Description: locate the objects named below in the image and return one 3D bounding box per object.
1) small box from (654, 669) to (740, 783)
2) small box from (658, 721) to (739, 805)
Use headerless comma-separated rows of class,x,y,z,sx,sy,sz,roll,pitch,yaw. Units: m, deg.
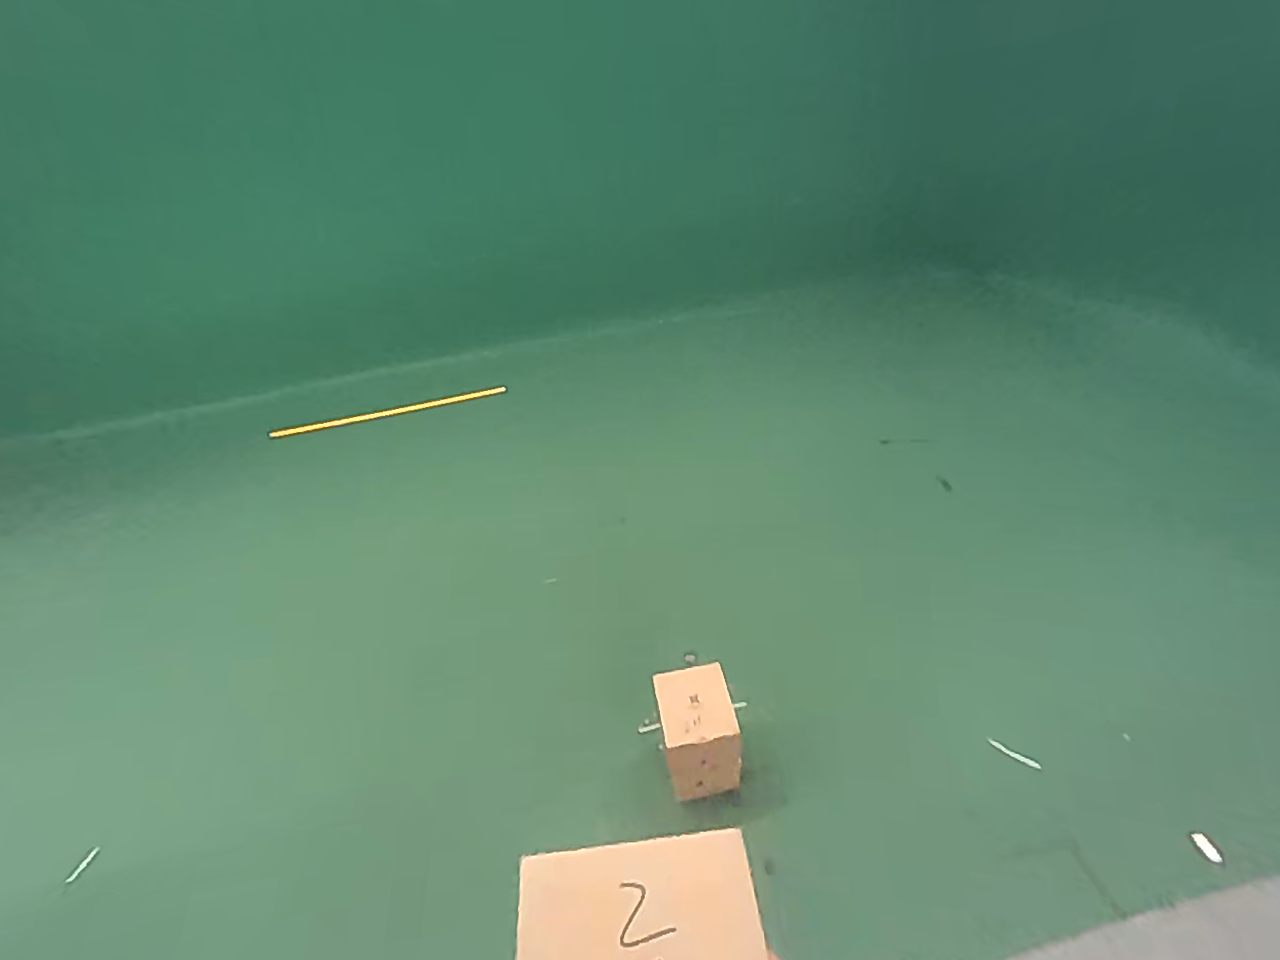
small box,0.130,0.578,1.273,0.168,0.176,0.179,-10,40,-3
small box,0.149,0.703,1.380,0.168,0.176,0.179,-12,40,-5
